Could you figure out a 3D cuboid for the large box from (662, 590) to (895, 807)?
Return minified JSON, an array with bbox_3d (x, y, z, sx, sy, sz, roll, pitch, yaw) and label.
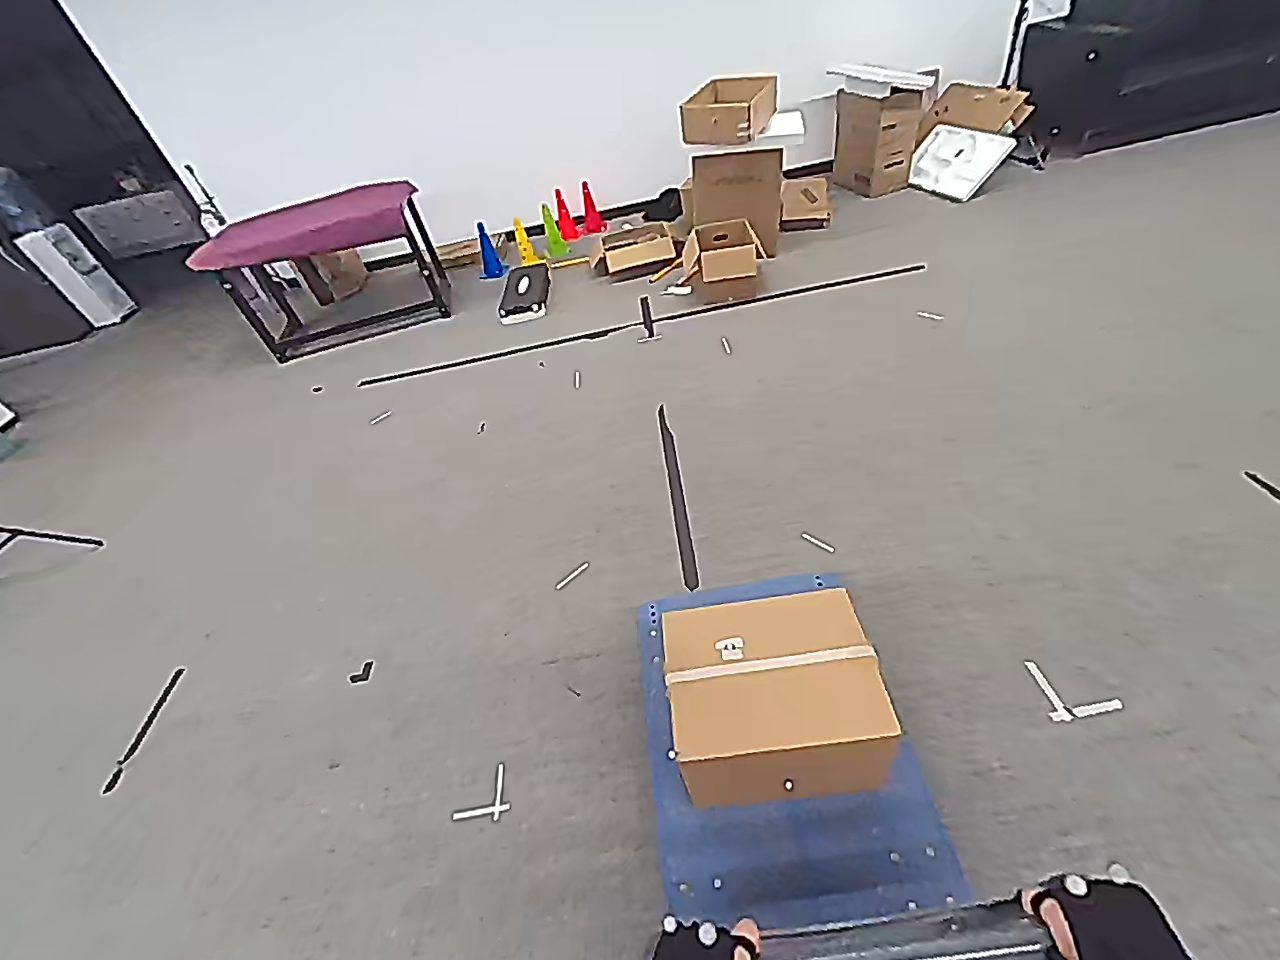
[{"bbox_3d":[0.283,0.484,1.187,0.408,0.320,0.320,-10,42,5],"label":"large box"}]
